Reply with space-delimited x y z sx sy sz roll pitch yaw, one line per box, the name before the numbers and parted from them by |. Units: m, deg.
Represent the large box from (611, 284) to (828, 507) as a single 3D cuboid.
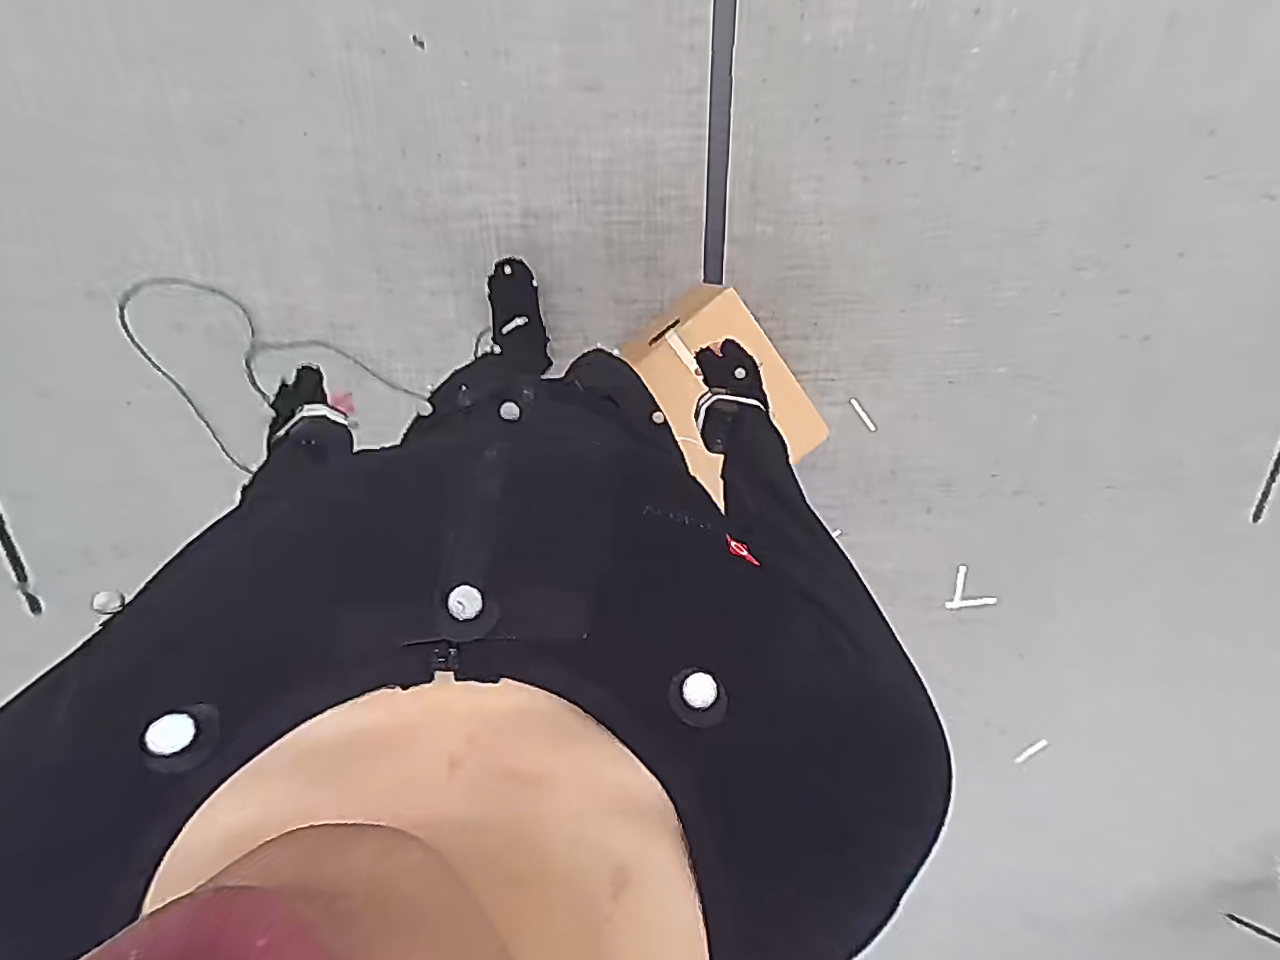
large box | 0.173 -0.215 1.313 0.320 0.320 0.408 -39 109 9
